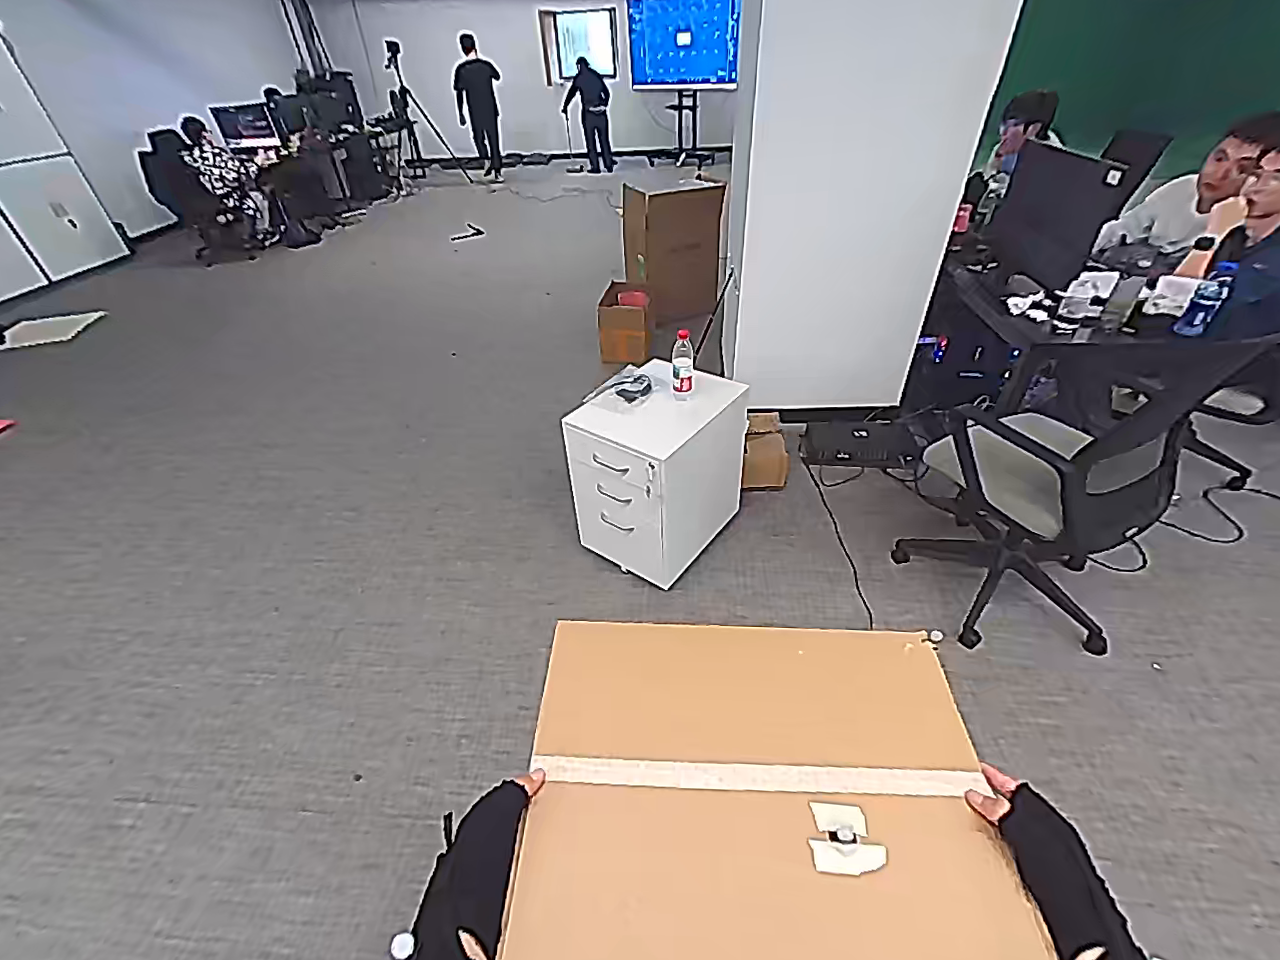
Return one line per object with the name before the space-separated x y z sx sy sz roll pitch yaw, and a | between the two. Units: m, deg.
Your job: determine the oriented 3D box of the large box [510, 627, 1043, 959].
large box | 0.105 0.383 0.593 0.408 0.320 0.320 1 43 3
